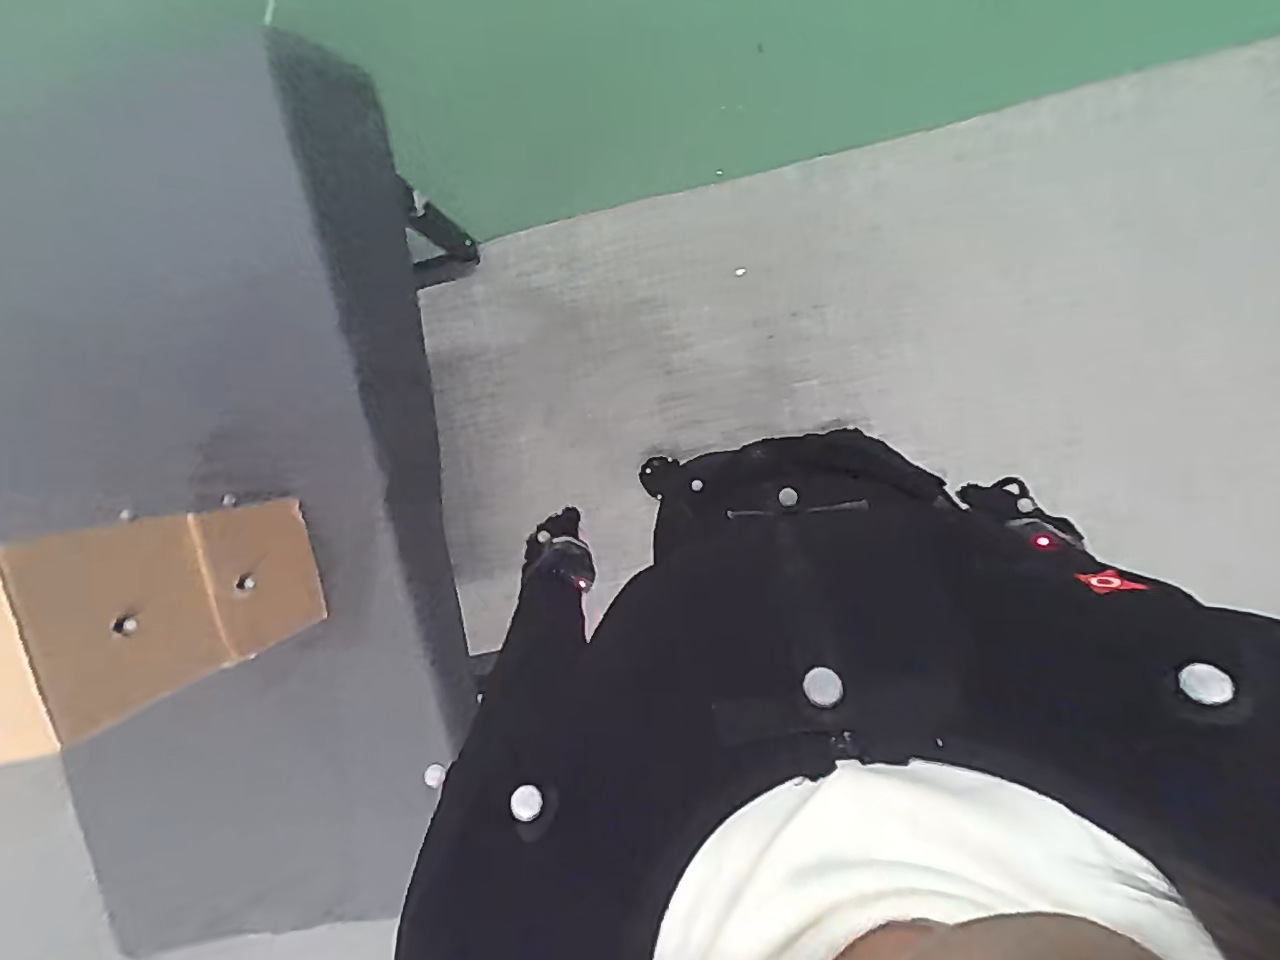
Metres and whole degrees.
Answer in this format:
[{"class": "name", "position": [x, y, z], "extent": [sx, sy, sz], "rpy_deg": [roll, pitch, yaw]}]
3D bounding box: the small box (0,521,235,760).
[{"class": "small box", "position": [-0.556, 0.145, 0.531], "extent": [0.168, 0.176, 0.179], "rpy_deg": [-13, 96, 6]}]

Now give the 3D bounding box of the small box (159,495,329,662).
[{"class": "small box", "position": [-0.538, 0.127, 0.694], "extent": [0.168, 0.176, 0.179], "rpy_deg": [-12, 94, 5]}]
